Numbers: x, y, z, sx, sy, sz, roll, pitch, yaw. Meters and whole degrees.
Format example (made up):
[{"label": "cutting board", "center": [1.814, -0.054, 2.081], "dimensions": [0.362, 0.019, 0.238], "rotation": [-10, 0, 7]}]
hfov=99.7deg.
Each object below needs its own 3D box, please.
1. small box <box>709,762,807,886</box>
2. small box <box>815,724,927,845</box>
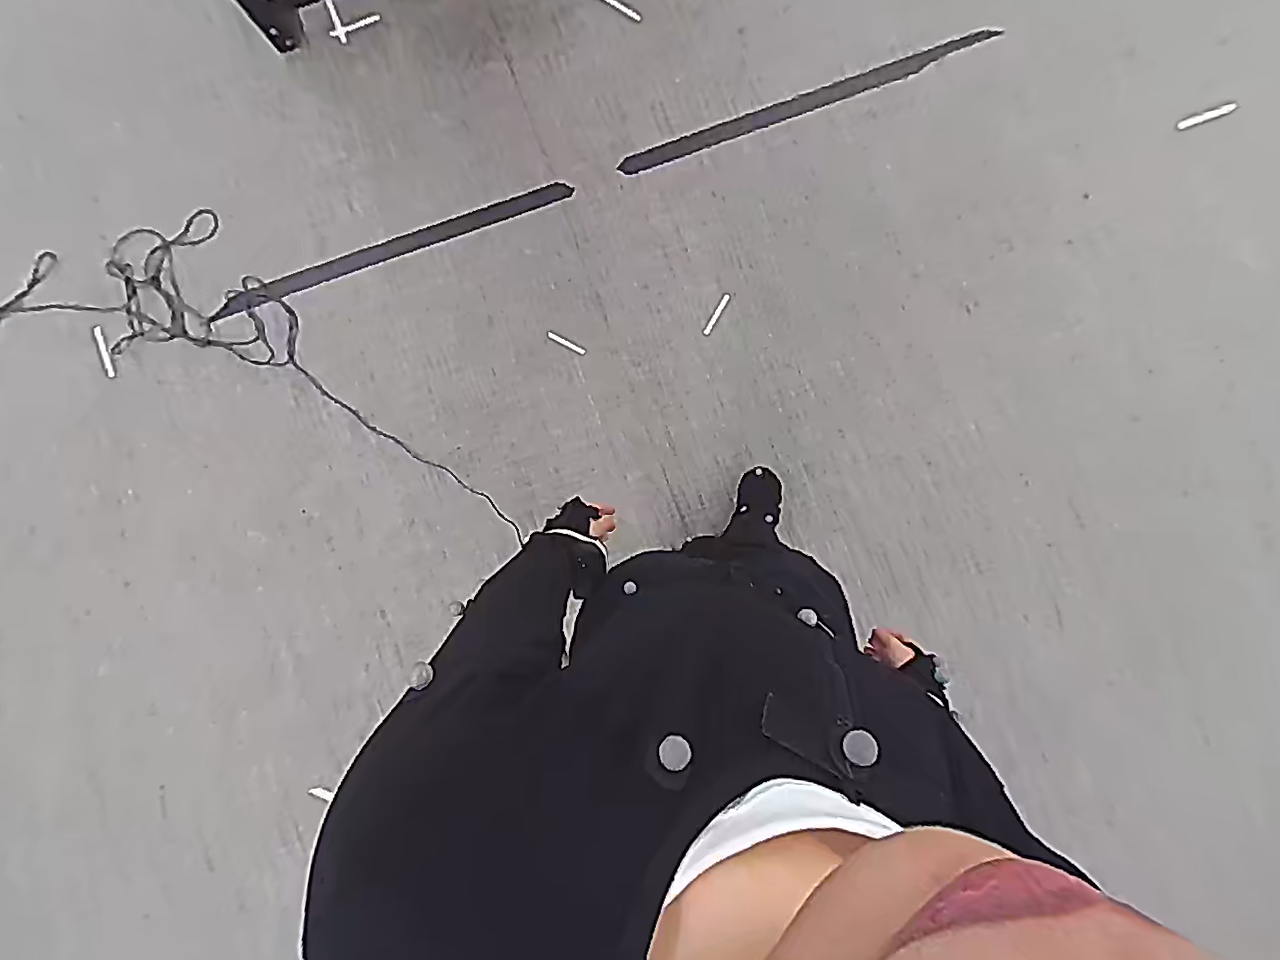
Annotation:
[{"label": "small box", "center": [0.272, 0.815, 1.299], "dimensions": [0.179, 0.176, 0.168], "rotation": [-19, 88, 0]}, {"label": "small box", "center": [0.539, 0.719, 1.295], "dimensions": [0.179, 0.176, 0.168], "rotation": [-20, 88, -1]}]
